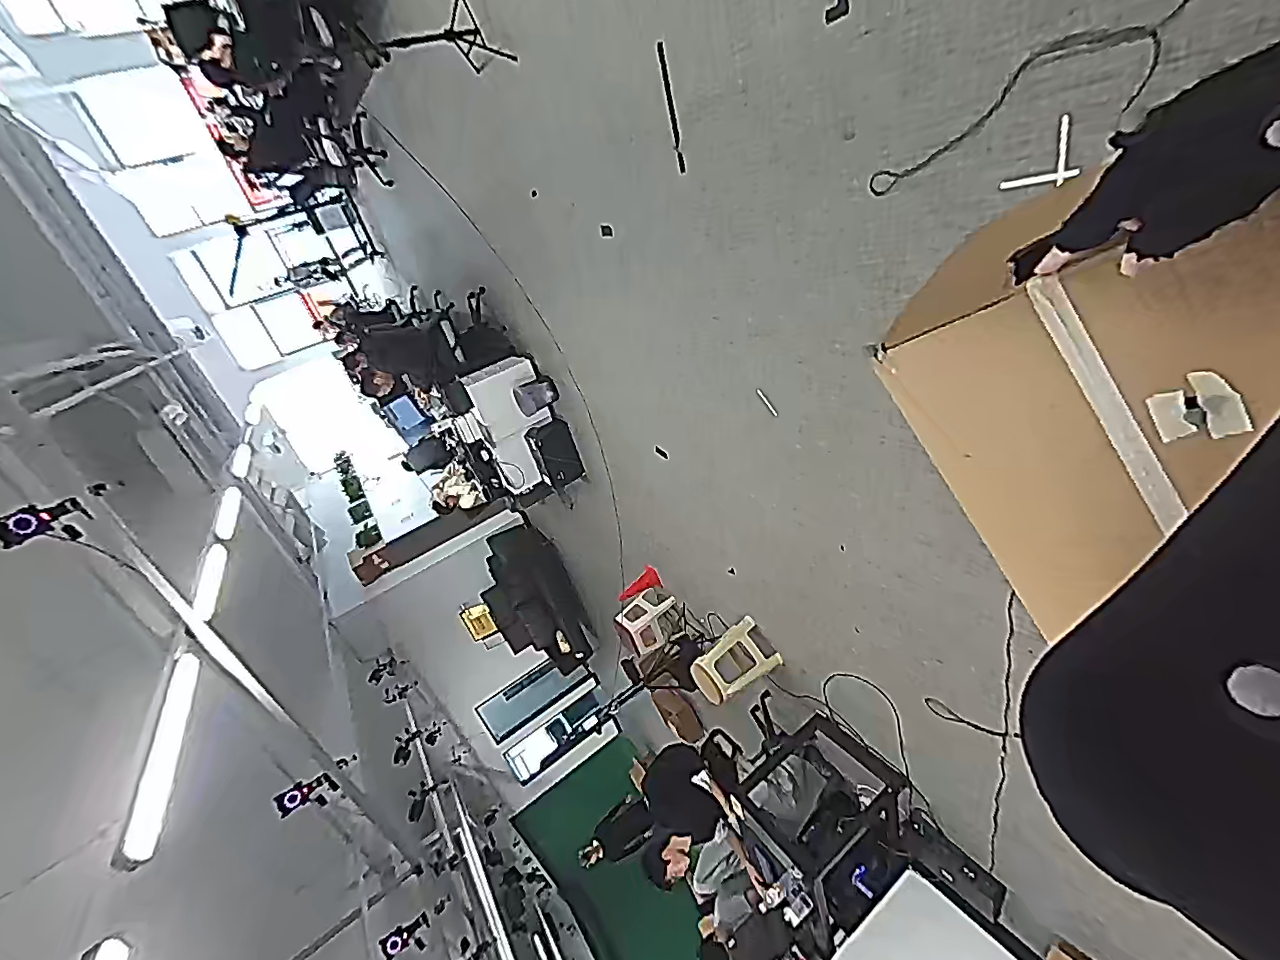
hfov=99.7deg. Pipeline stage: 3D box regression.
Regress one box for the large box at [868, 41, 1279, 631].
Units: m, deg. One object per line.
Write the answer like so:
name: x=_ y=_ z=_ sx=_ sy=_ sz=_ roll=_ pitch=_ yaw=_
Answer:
large box: x=0.515 y=-0.112 z=0.519 sx=0.408 sy=0.320 sz=0.320 roll=53 pitch=149 yaw=-10
